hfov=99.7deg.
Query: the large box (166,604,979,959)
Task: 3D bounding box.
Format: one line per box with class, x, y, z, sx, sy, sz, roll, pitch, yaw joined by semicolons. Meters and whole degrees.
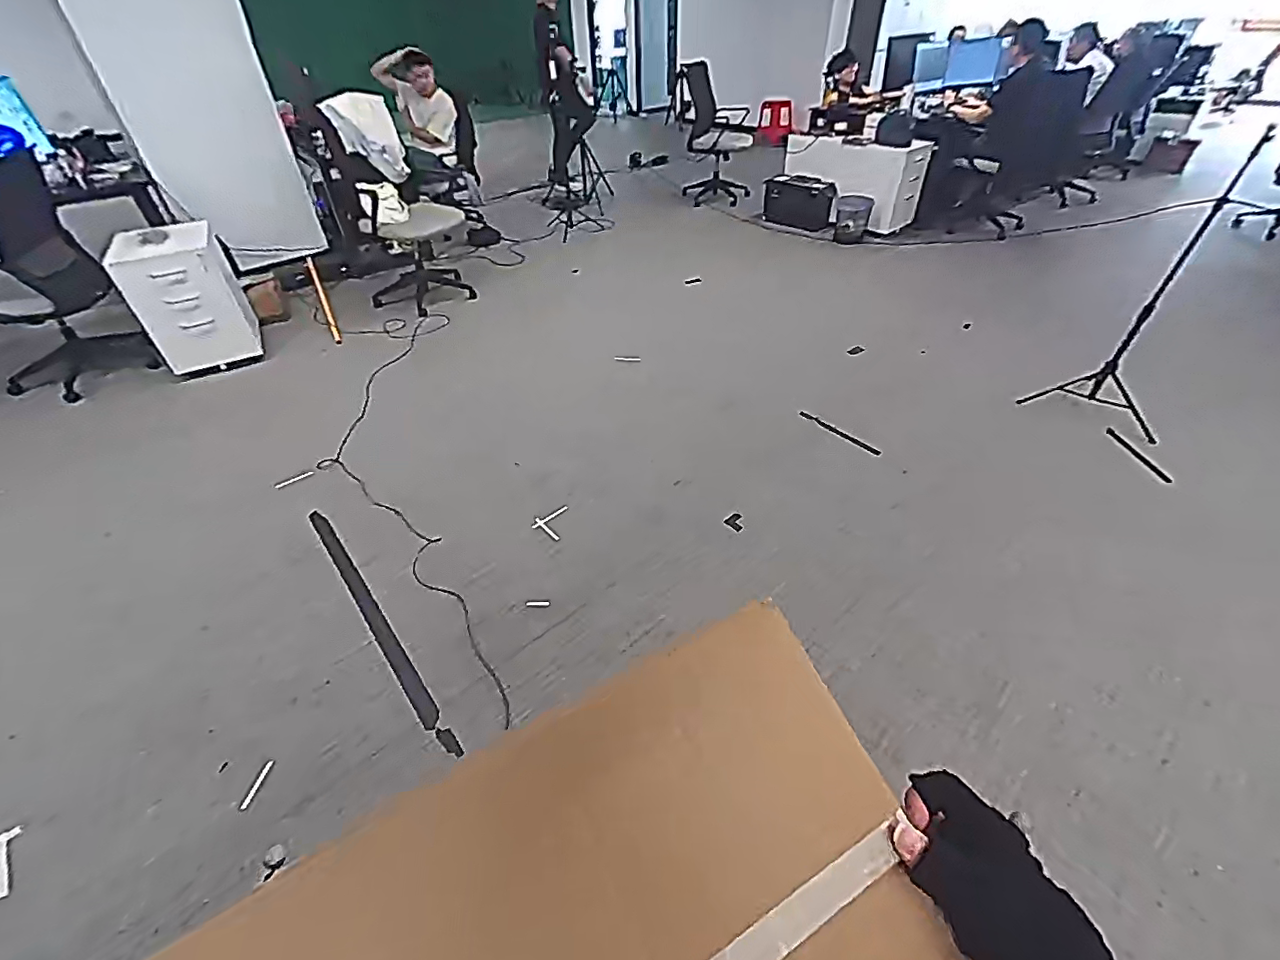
large box;-0.034;0.349;0.416;0.408;0.320;0.320;-26;75;-17
